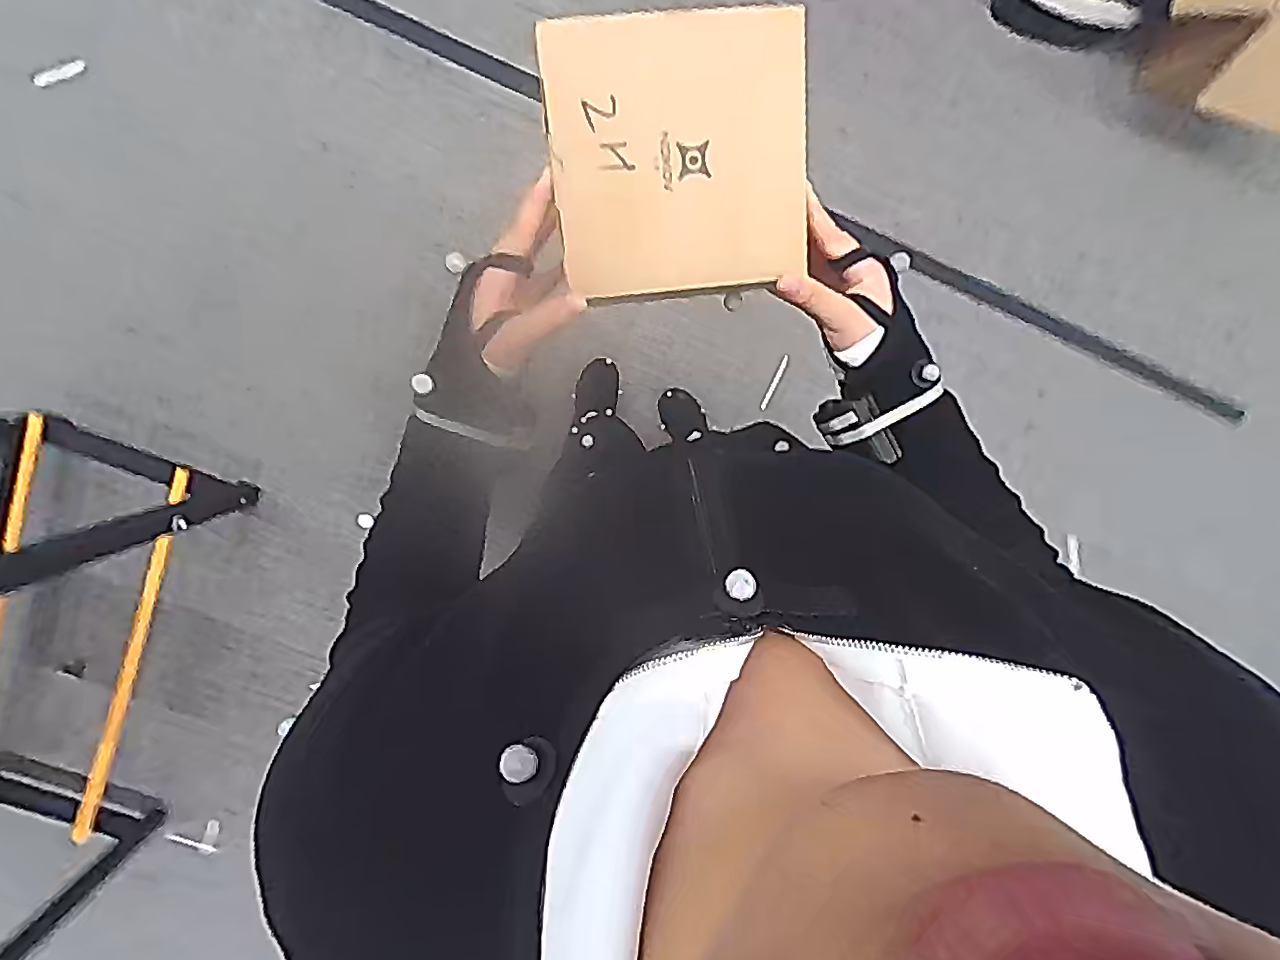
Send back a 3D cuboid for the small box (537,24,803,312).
[{"bbox_3d":[0.018,-0.233,0.446,0.179,0.176,0.168,-8,106,-4],"label":"small box"}]
